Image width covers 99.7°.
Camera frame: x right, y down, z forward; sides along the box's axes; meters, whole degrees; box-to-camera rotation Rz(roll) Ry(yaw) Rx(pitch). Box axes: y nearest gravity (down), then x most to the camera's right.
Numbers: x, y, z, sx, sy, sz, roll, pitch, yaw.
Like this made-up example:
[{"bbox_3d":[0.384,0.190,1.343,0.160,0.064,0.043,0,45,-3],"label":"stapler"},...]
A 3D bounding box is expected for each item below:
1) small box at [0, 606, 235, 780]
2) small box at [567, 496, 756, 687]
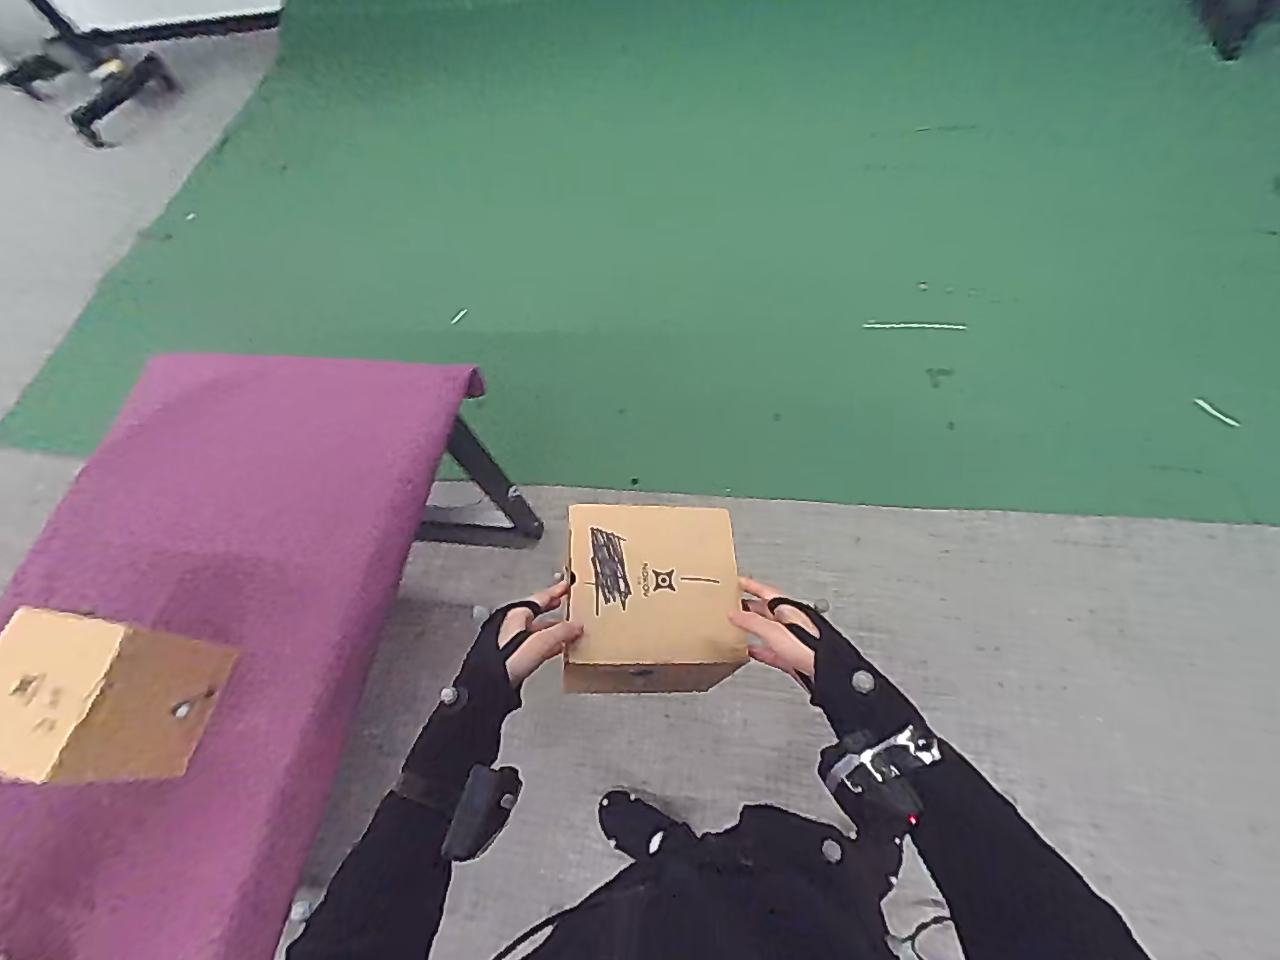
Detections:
[{"bbox_3d":[-0.680,0.270,0.683,0.179,0.176,0.168,5,65,11],"label":"small box"},{"bbox_3d":[0.011,0.132,0.603,0.179,0.176,0.168,4,60,-9],"label":"small box"}]
